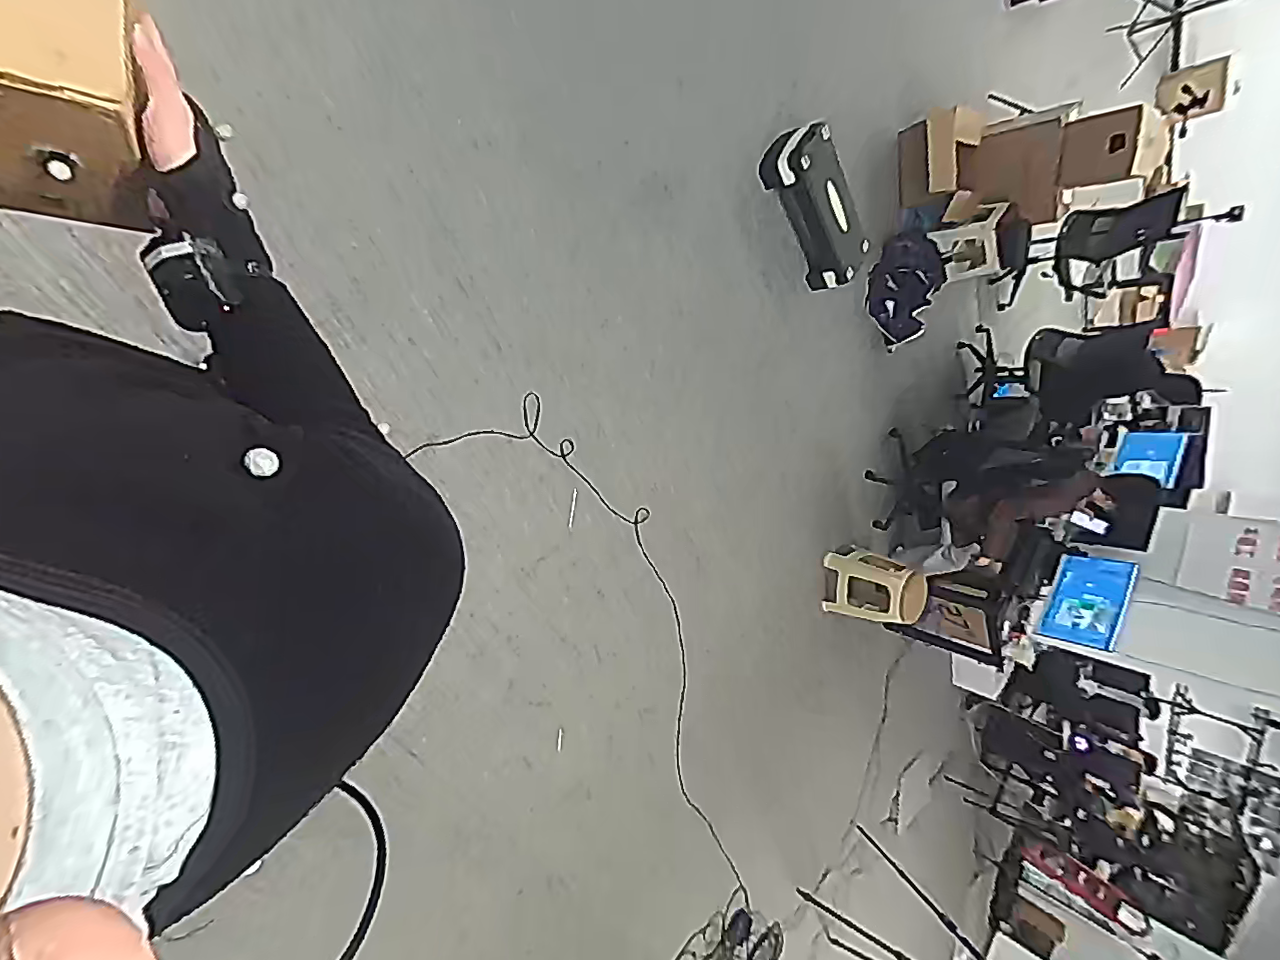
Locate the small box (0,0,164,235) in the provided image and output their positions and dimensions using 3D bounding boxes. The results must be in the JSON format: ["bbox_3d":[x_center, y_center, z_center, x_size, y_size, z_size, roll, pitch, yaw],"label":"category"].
[{"bbox_3d":[-0.465,-0.312,0.393,0.168,0.176,0.179,-3,81,-38],"label":"small box"}]
